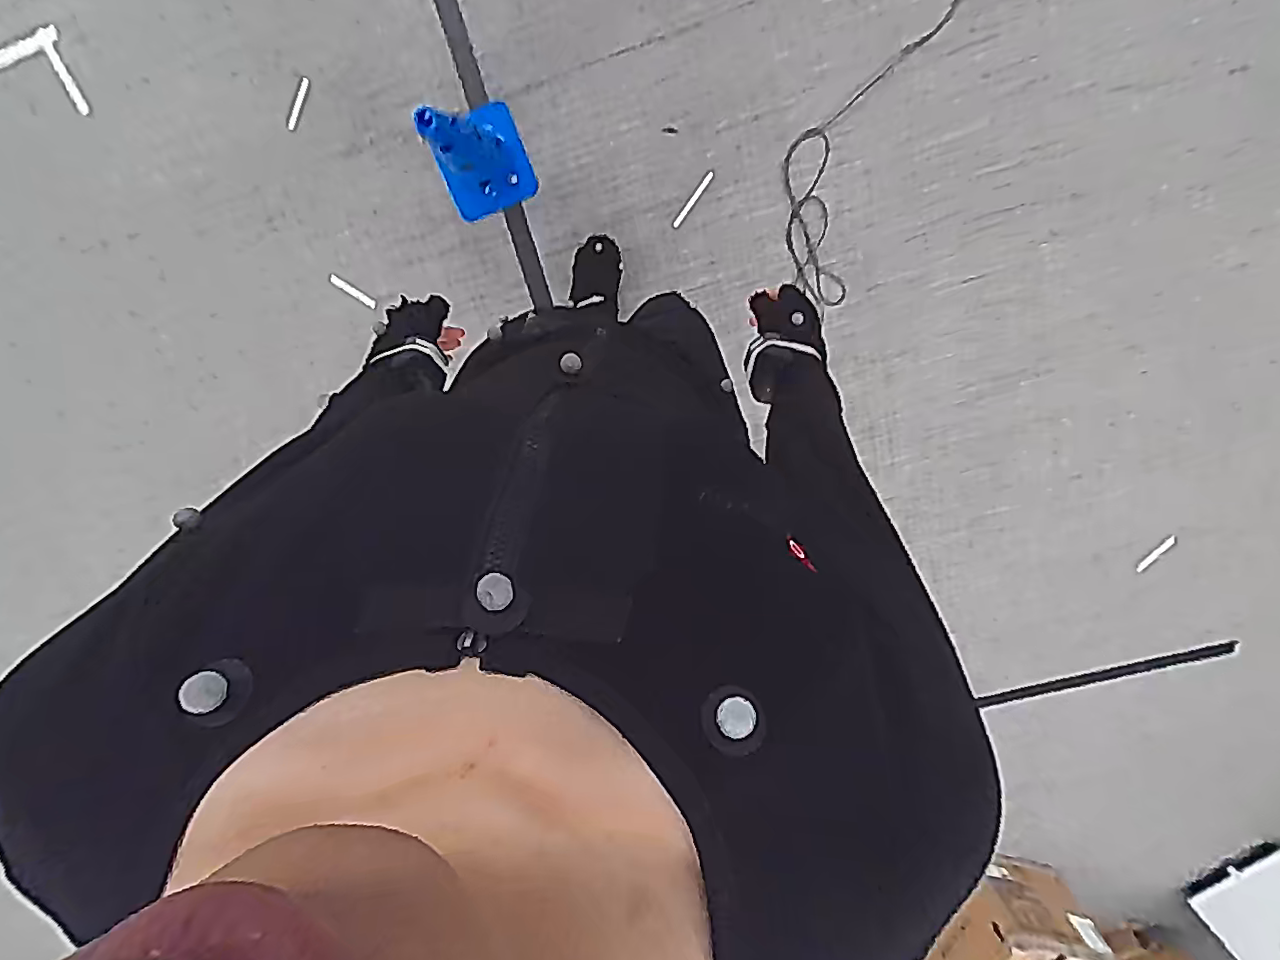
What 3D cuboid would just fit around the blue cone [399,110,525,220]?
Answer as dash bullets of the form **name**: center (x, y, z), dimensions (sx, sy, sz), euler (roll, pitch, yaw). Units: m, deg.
- **blue cone**: center (-0.375, -0.662, 1.082), dimensions (0.192, 0.380, 0.193), euler (-18, 109, 8)
